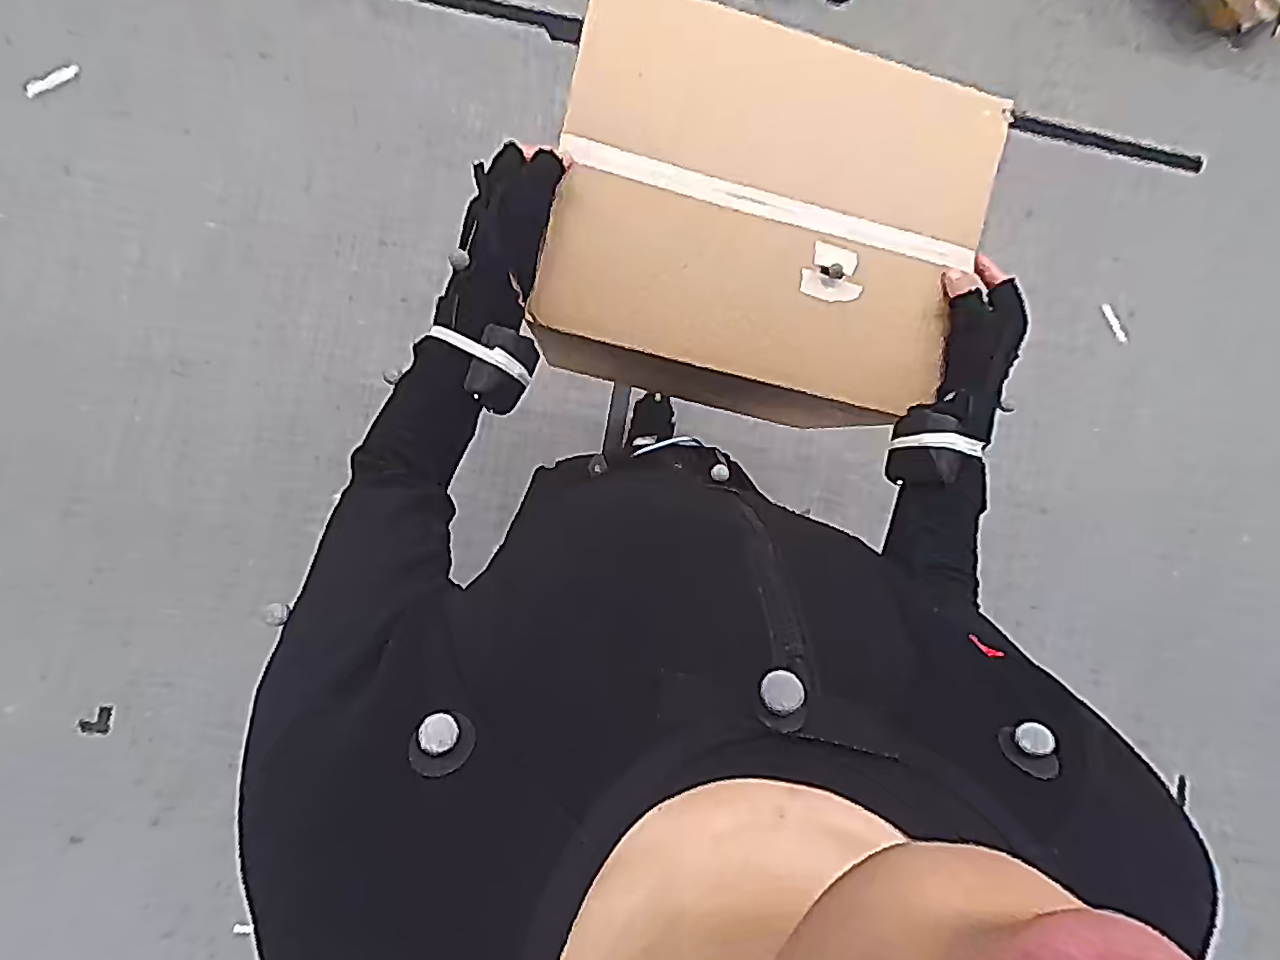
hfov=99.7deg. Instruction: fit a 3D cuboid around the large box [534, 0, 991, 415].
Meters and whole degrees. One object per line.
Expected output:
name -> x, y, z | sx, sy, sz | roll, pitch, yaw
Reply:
large box -> 0.106, -0.276, 0.663 | 0.408, 0.320, 0.320 | 13, 94, -7
